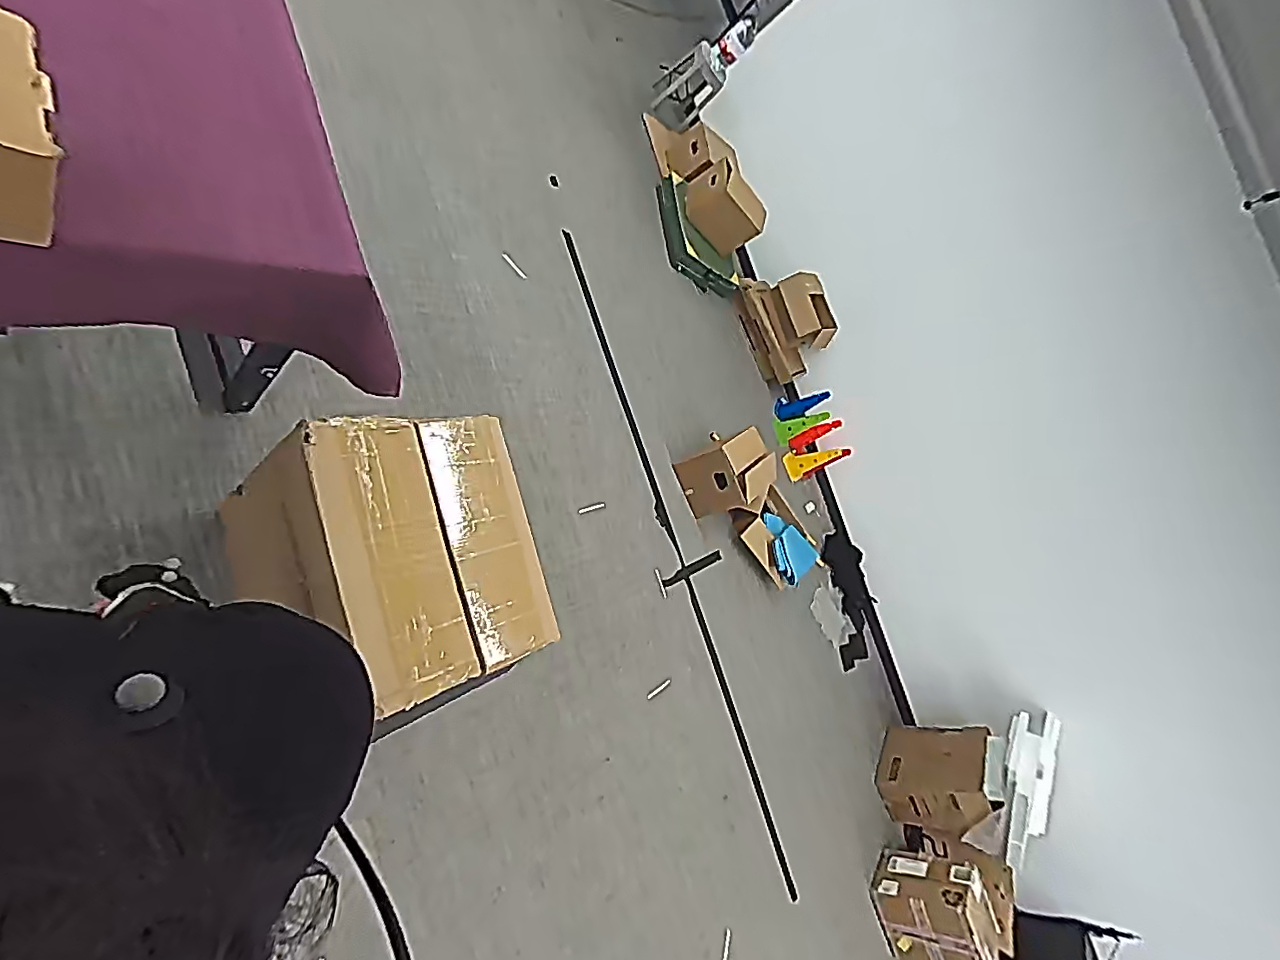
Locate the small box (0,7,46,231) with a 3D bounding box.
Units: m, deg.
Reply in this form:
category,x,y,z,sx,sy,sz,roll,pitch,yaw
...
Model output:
category,x,y,z,sx,sy,sz,roll,pitch,yaw
small box,-0.740,-0.381,0.541,0.179,0.176,0.168,-8,79,-51
